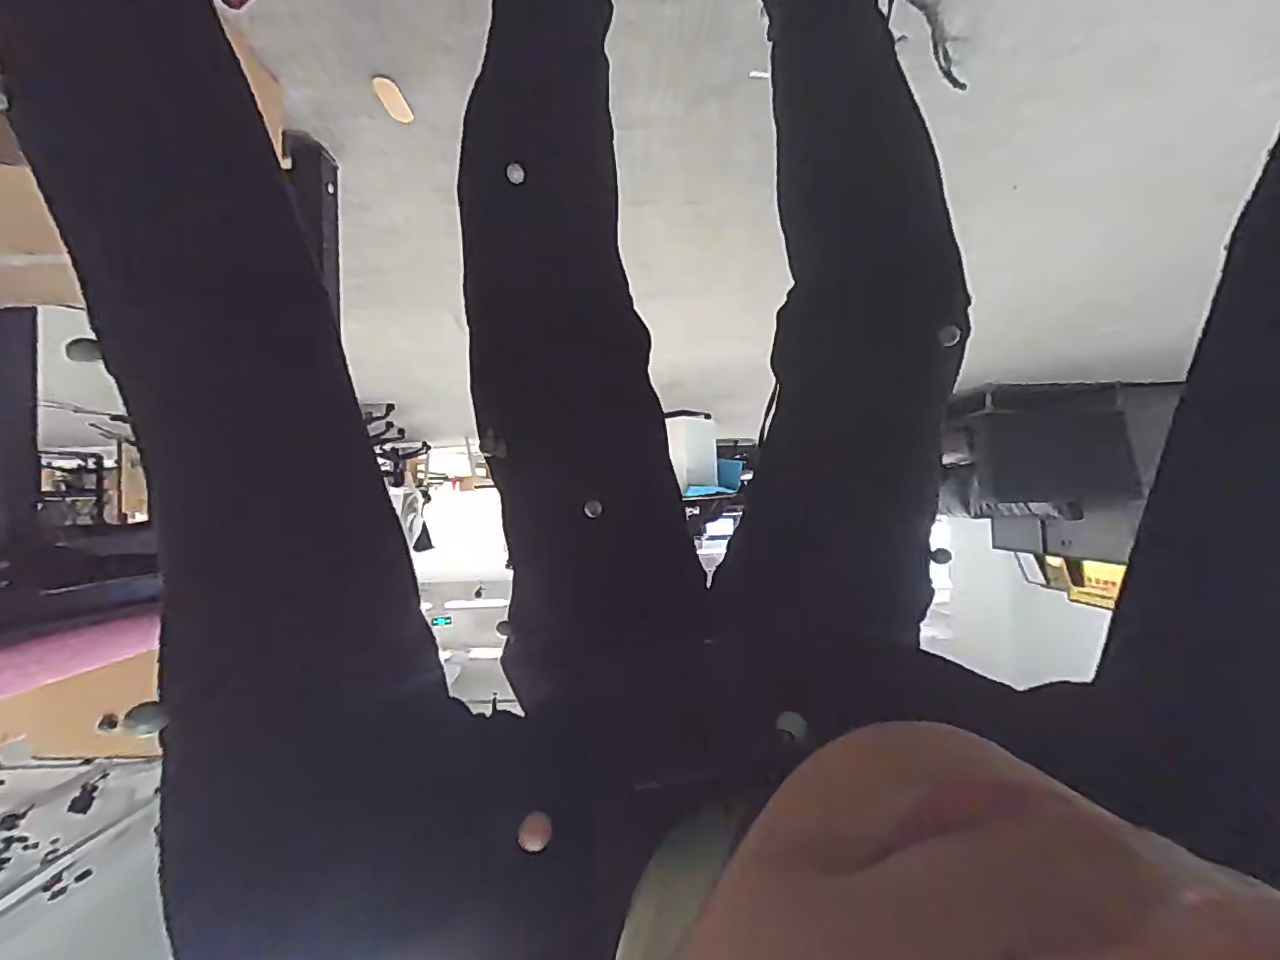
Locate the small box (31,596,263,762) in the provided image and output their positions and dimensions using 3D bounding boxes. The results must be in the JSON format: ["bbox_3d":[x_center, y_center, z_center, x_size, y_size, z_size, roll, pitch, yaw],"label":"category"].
[{"bbox_3d":[-0.650,0.254,0.729,0.179,0.176,0.168,0,177,0],"label":"small box"}]
